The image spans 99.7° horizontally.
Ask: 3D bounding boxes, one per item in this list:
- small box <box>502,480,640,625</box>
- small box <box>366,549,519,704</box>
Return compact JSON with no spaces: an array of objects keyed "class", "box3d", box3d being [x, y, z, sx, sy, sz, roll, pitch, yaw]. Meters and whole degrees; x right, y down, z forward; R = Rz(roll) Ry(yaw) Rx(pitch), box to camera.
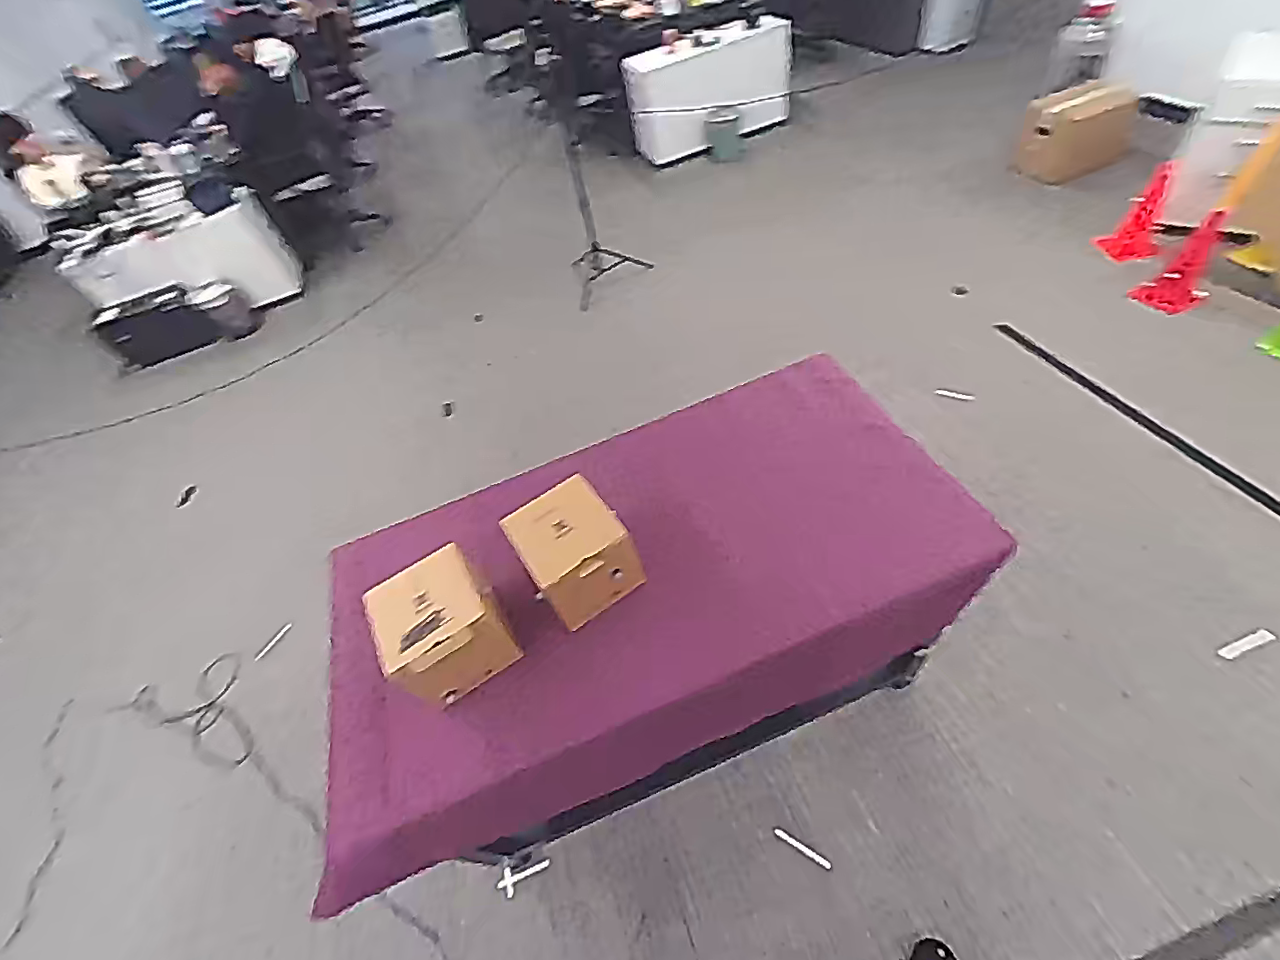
[{"class":"small box","box3d":[-0.118,0.139,0.983,0.168,0.176,0.179,-33,51,-14]},{"class":"small box","box3d":[-0.333,0.261,0.933,0.168,0.176,0.179,-32,50,-13]}]
